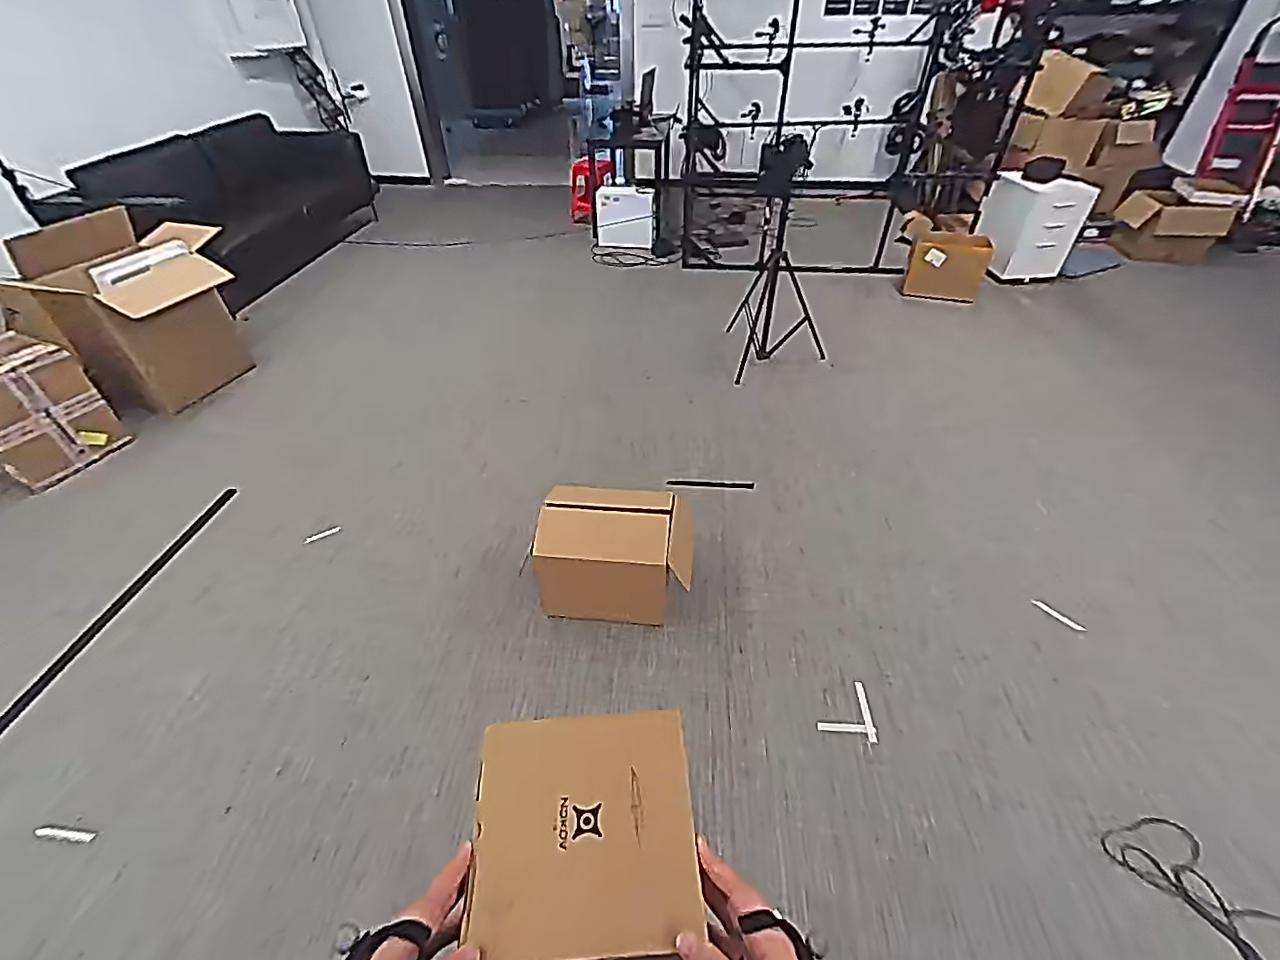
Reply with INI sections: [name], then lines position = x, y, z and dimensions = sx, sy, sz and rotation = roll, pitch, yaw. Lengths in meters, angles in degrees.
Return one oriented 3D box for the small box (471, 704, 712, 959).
[small box]
position = -0.037, 0.327, 0.495
dimensions = 0.179, 0.176, 0.168
rotation = -4, 45, -3
